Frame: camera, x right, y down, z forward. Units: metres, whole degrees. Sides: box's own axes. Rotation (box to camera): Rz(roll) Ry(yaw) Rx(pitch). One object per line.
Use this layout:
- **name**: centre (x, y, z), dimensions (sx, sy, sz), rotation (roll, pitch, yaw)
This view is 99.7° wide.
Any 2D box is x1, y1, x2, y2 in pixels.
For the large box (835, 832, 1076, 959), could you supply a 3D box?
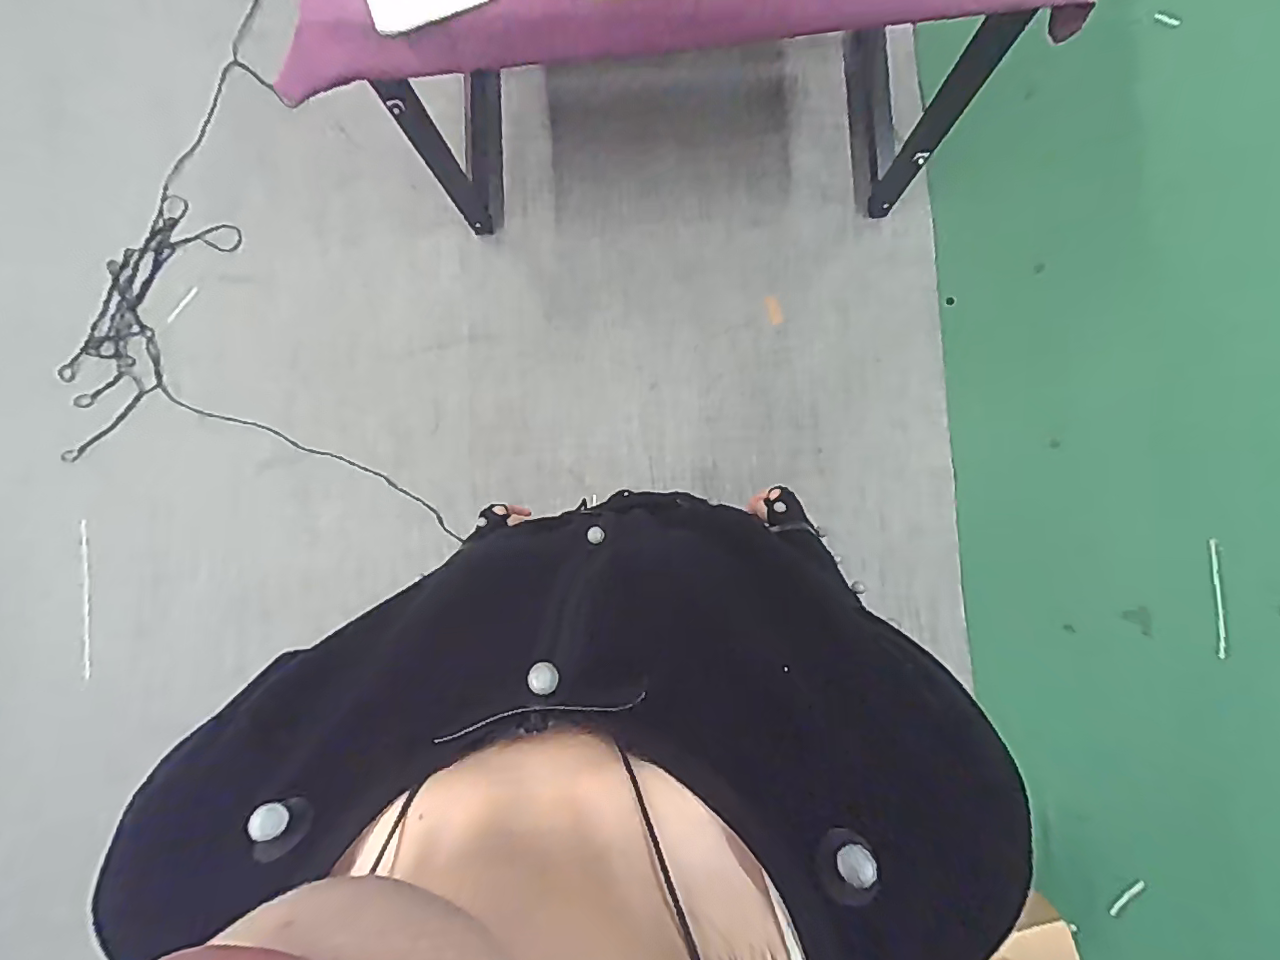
- **large box**: centre (0.745, 1.126, 1.284), dimensions (0.408, 0.320, 0.320), rotation (-17, 87, 0)
